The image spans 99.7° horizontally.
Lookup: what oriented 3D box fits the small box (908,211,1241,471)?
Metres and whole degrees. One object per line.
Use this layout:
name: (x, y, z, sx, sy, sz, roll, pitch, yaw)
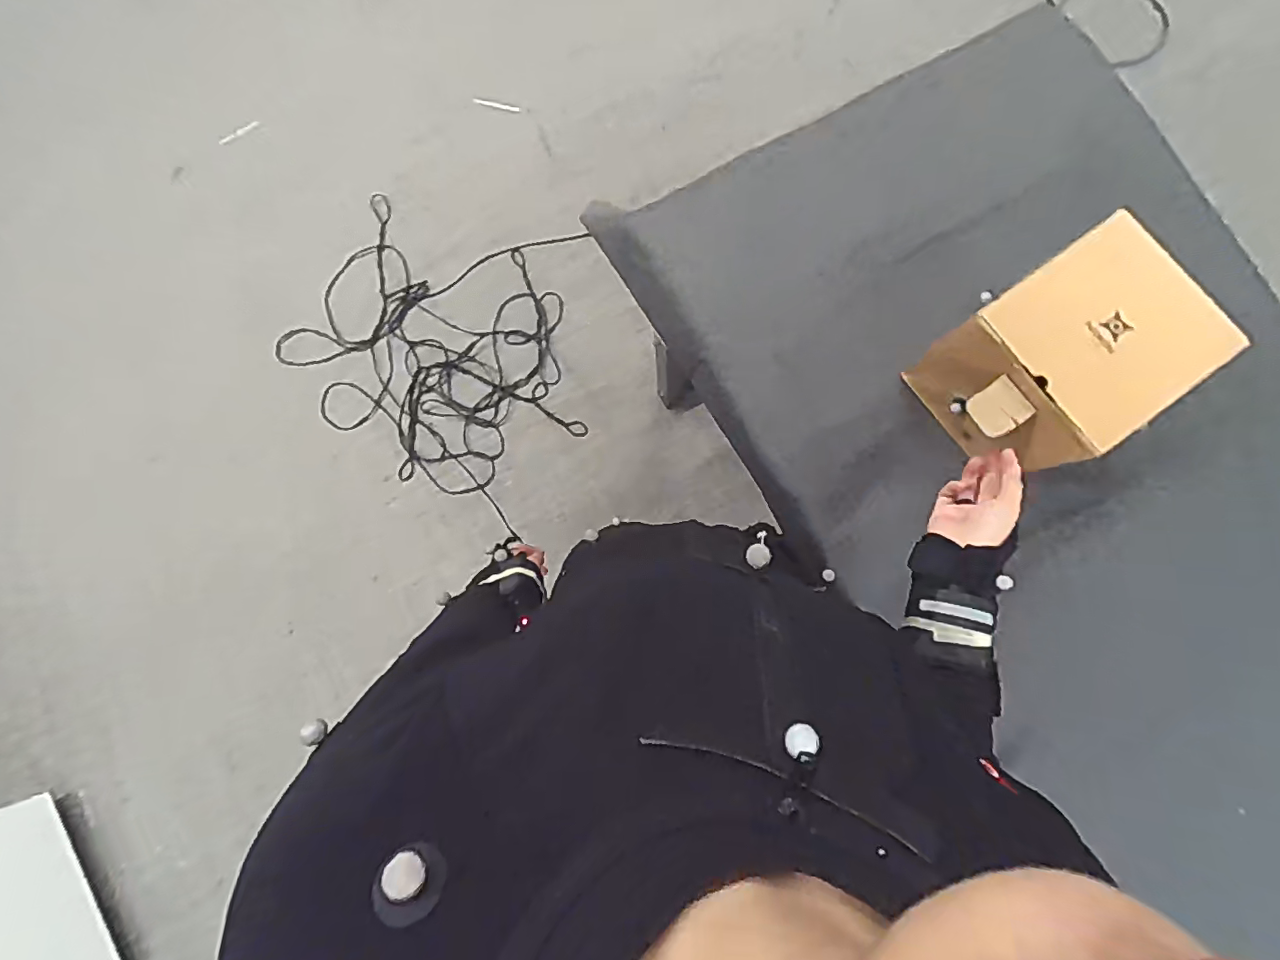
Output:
small box: (0.428, -0.129, 0.570, 0.179, 0.176, 0.168, -37, 84, -2)
